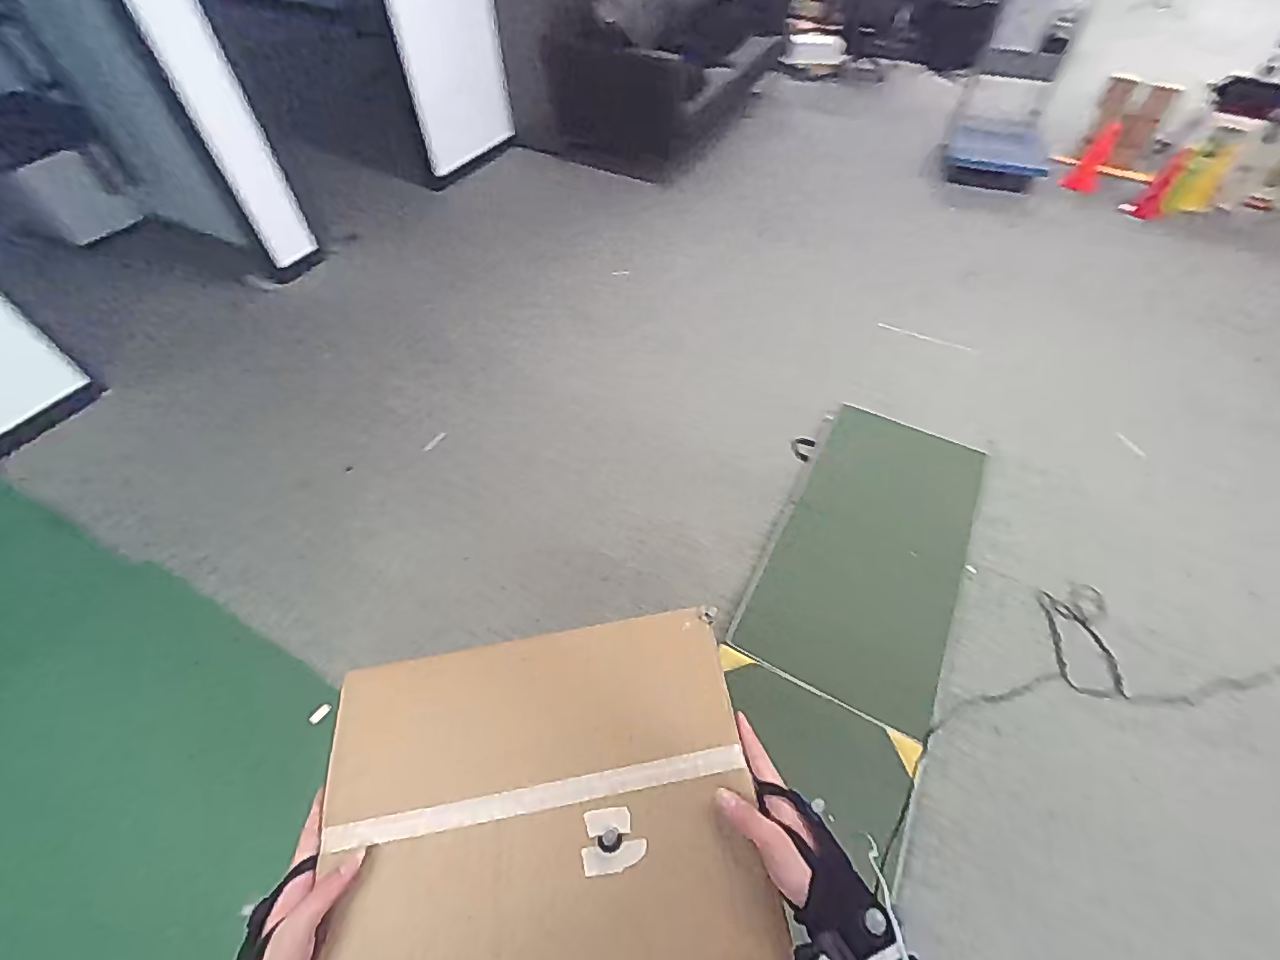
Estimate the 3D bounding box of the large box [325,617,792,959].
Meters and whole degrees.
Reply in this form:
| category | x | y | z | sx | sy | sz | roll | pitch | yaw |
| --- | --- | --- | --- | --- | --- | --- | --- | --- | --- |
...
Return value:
| category | x | y | z | sx | sy | sz | roll | pitch | yaw |
| --- | --- | --- | --- | --- | --- | --- | --- | --- | --- |
| large box | -0.083 | 0.399 | 0.646 | 0.408 | 0.320 | 0.320 | -9 | 56 | -2 |
